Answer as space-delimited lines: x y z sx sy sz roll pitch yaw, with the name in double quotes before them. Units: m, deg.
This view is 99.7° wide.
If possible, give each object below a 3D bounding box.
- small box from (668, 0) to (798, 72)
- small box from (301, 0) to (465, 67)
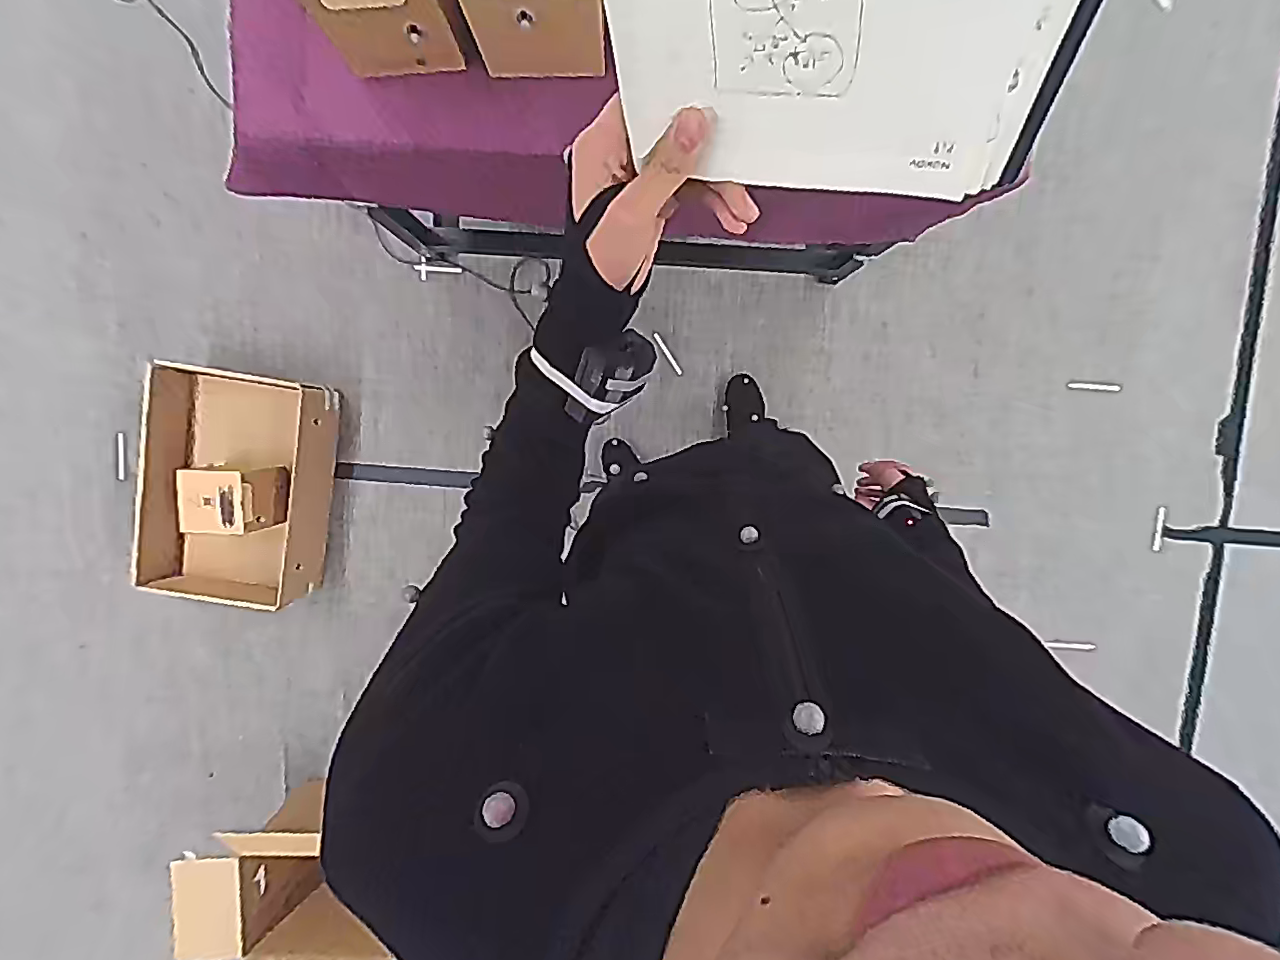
"small box" 0.129 -0.693 0.723 0.168 0.176 0.179 6 95 -1
"small box" -0.344 -0.688 0.720 0.168 0.176 0.179 -5 96 -1
